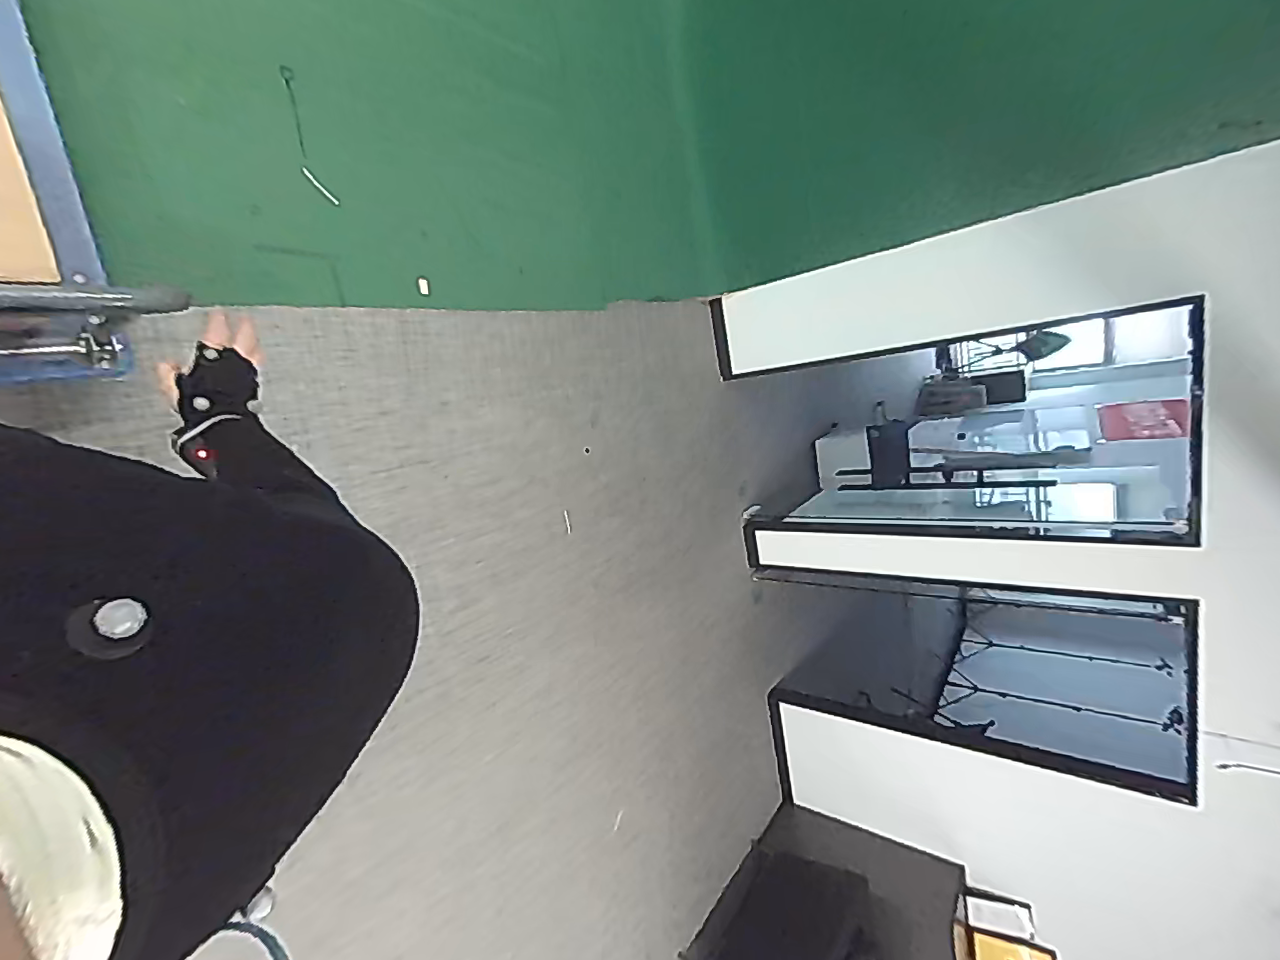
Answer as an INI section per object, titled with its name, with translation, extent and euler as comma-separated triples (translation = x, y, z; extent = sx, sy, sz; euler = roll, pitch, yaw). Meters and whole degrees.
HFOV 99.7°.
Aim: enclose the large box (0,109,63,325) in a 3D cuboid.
[large box]
translation = -1.137, -0.451, 0.784
extent = 0.320, 0.320, 0.408
euler = -23, 105, -49
